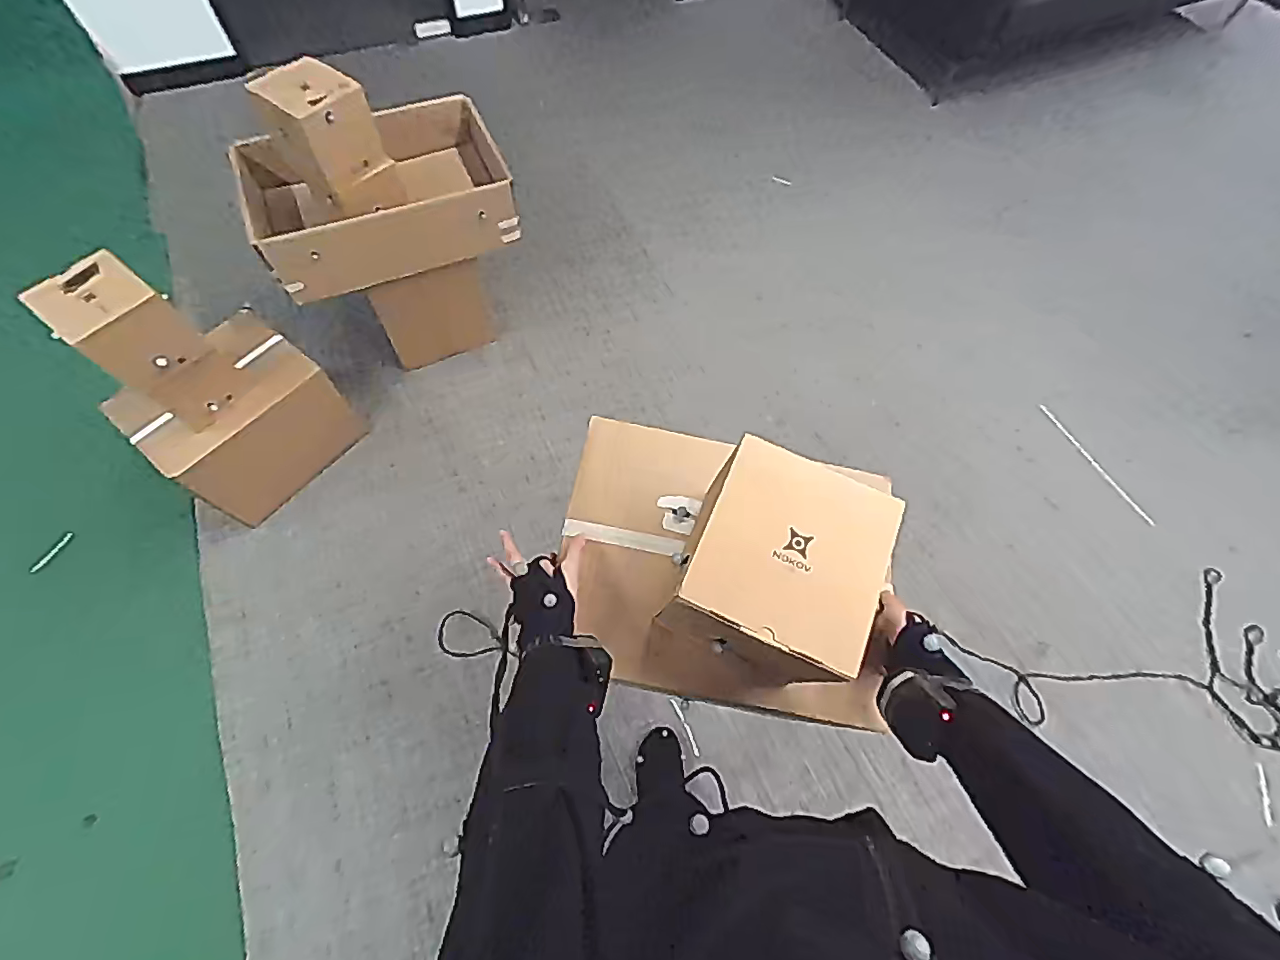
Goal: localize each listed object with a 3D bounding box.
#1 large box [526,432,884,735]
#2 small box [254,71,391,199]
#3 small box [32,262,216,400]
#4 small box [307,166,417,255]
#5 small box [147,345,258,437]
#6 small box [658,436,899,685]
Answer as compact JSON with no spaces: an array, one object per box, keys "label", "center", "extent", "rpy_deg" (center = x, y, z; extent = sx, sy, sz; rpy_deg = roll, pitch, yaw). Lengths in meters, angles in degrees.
[{"label":"large box","center":[0.087,0.163,0.782],"extent":[0.408,0.320,0.320],"rpy_deg":[10,66,1]},{"label":"small box","center":[-0.714,-0.781,1.234],"extent":[0.179,0.176,0.168],"rpy_deg":[34,66,14]},{"label":"small box","center":[-1.023,-0.293,1.088],"extent":[0.179,0.176,0.168],"rpy_deg":[36,68,13]},{"label":"small box","center":[-0.706,-0.710,1.382],"extent":[0.179,0.176,0.168],"rpy_deg":[39,67,16]},{"label":"small box","center":[-1.040,-0.227,1.238],"extent":[0.179,0.176,0.168],"rpy_deg":[31,67,12]},{"label":"small box","center":[0.126,0.090,0.550],"extent":[0.168,0.176,0.179],"rpy_deg":[24,69,4]}]
